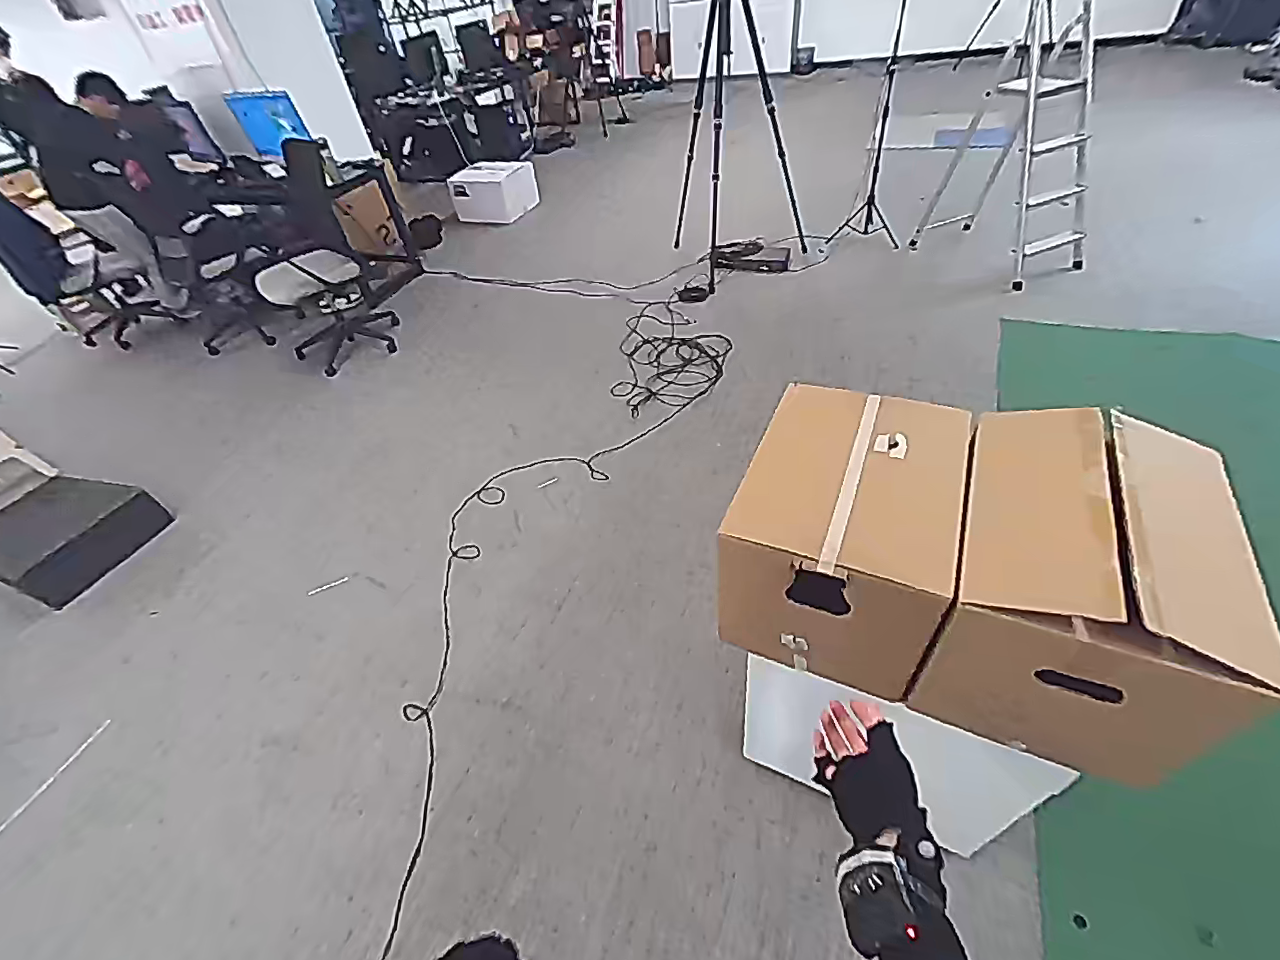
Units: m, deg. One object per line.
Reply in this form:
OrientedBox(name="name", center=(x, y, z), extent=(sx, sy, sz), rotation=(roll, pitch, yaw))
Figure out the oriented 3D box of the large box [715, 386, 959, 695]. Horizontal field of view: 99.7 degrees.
OrientedBox(name="large box", center=(0.344, 0.089, 0.956), extent=(0.320, 0.320, 0.408), rotation=(14, 48, 23))
